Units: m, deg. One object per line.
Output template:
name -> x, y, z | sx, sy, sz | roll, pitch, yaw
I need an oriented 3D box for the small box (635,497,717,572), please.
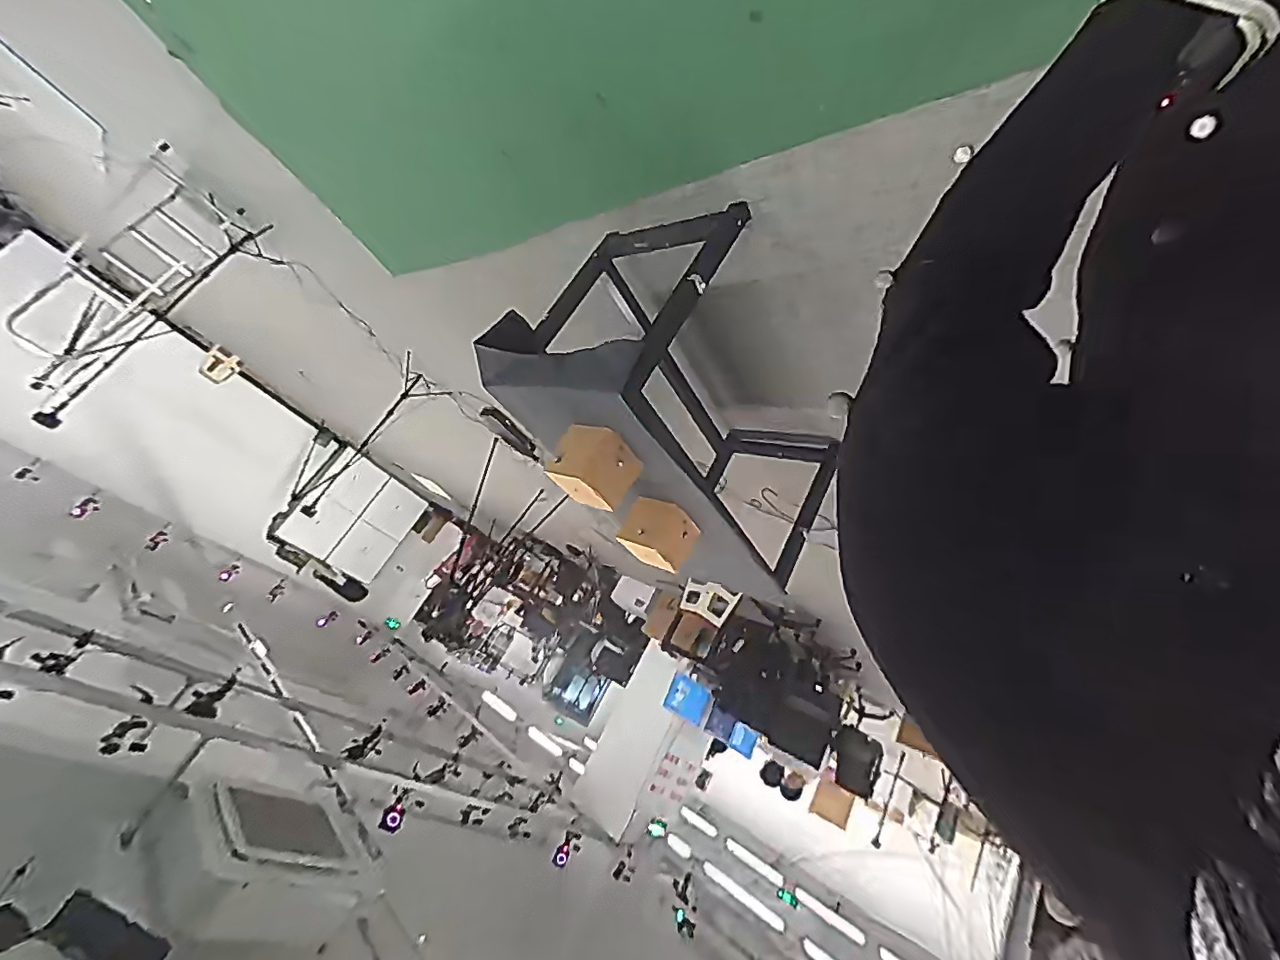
small box -> 0.122, 0.173, 1.781 | 0.179, 0.176, 0.168 | 11, 153, 45

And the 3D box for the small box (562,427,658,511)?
small box -> -0.081, -0.038, 1.541 | 0.179, 0.176, 0.168 | 11, 154, 46
